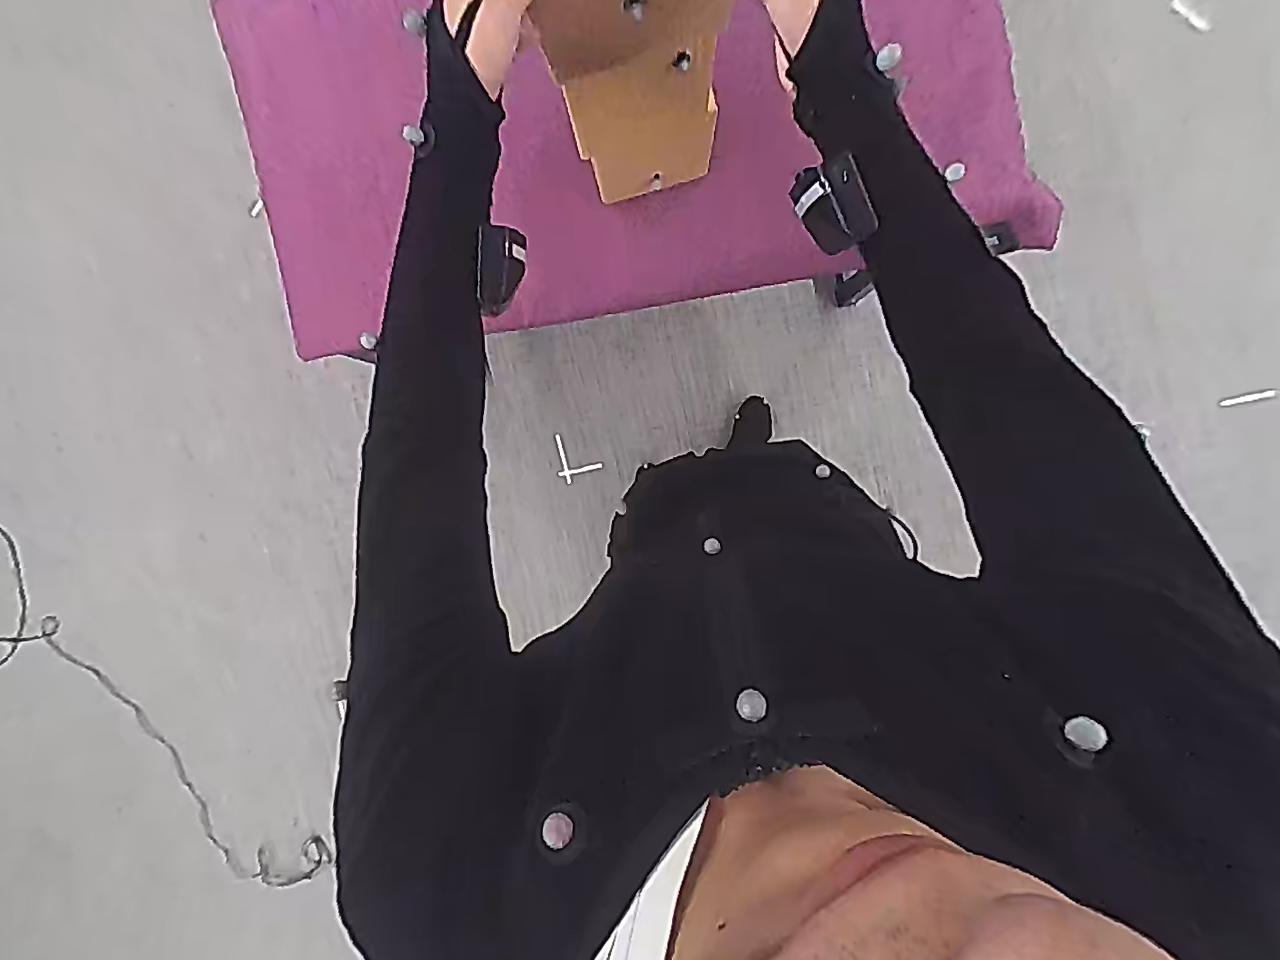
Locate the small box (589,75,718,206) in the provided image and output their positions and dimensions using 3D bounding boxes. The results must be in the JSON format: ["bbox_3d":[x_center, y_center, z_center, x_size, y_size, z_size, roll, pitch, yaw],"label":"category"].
[{"bbox_3d":[0.001,-0.539,0.796,0.179,0.176,0.168,-15,91,2],"label":"small box"}]

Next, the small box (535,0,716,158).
[{"bbox_3d":[-0.020,-0.518,0.634,0.179,0.176,0.168,-15,92,2],"label":"small box"}]
